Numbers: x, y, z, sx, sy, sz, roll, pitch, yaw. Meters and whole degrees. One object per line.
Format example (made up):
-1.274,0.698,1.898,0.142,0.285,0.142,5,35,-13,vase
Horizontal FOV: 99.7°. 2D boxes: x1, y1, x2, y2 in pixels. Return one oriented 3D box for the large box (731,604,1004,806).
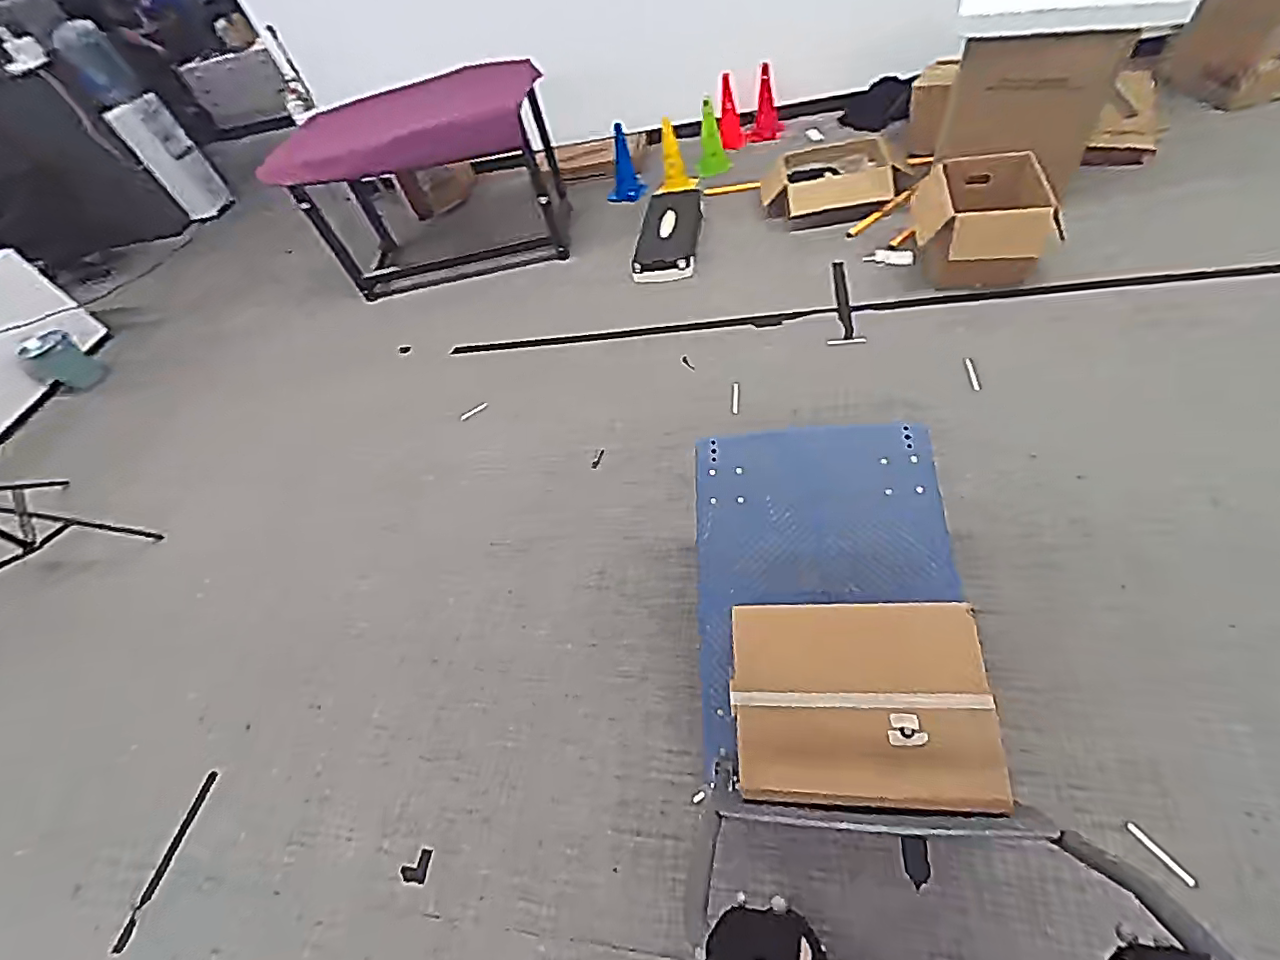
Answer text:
0.393,0.426,1.052,0.408,0.320,0.320,-3,69,10,large box
